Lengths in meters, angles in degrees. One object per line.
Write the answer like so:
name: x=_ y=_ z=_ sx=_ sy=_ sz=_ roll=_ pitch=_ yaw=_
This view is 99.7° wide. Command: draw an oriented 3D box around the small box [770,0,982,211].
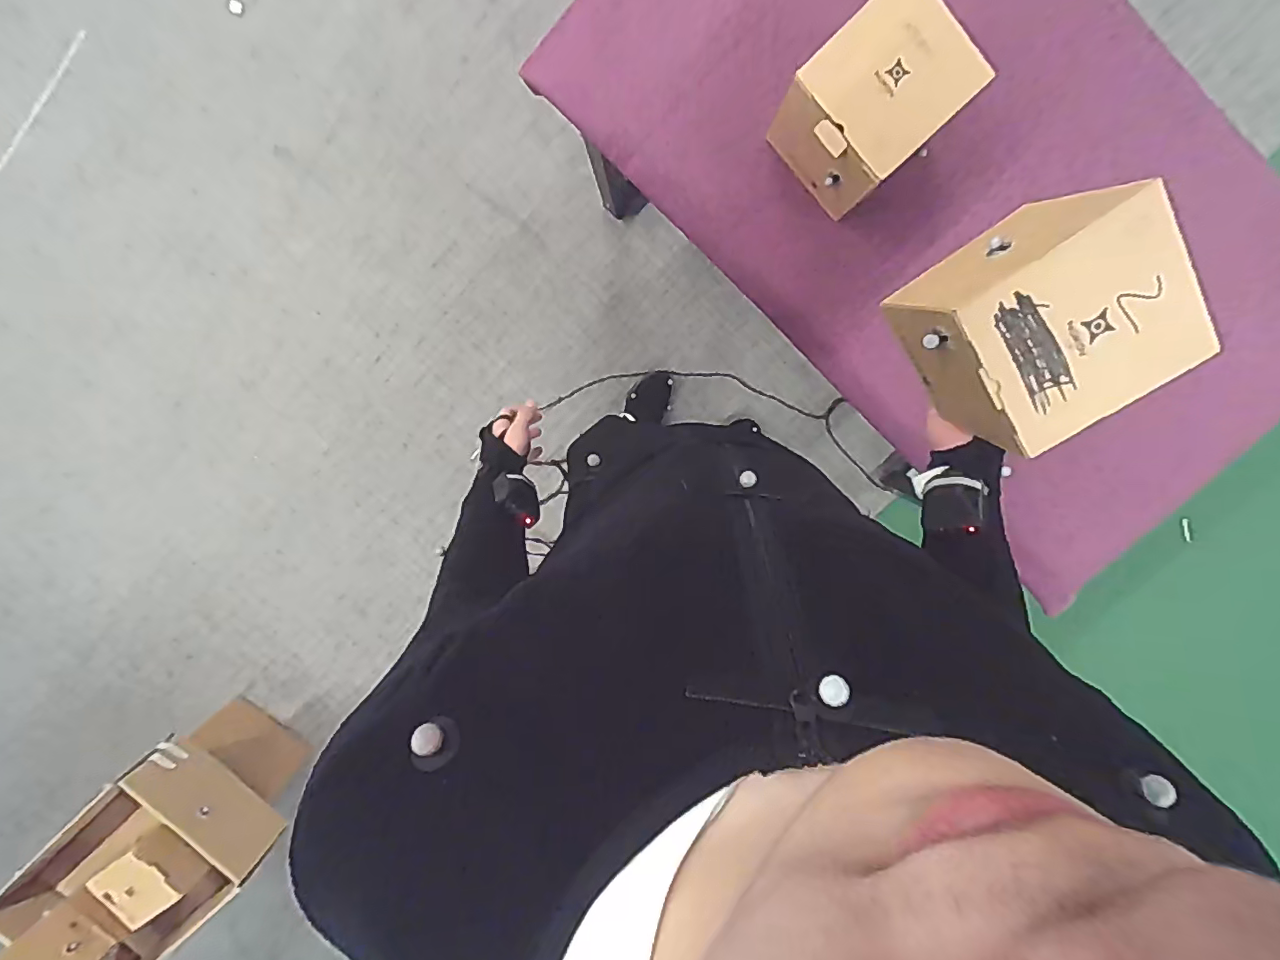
small box: x=0.294 y=-0.499 z=0.723 sx=0.179 sy=0.176 sz=0.168 roll=-42 pitch=98 yaw=8

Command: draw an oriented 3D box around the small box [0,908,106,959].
small box: x=-1.385 y=1.134 z=1.218 sx=0.179 sy=0.176 sz=0.168 roll=-44 pitch=96 yaw=7

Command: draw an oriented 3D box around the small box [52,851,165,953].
small box: x=-1.386 y=1.108 z=1.378 sx=0.179 sy=0.176 sz=0.168 roll=-43 pitch=97 yaw=7
